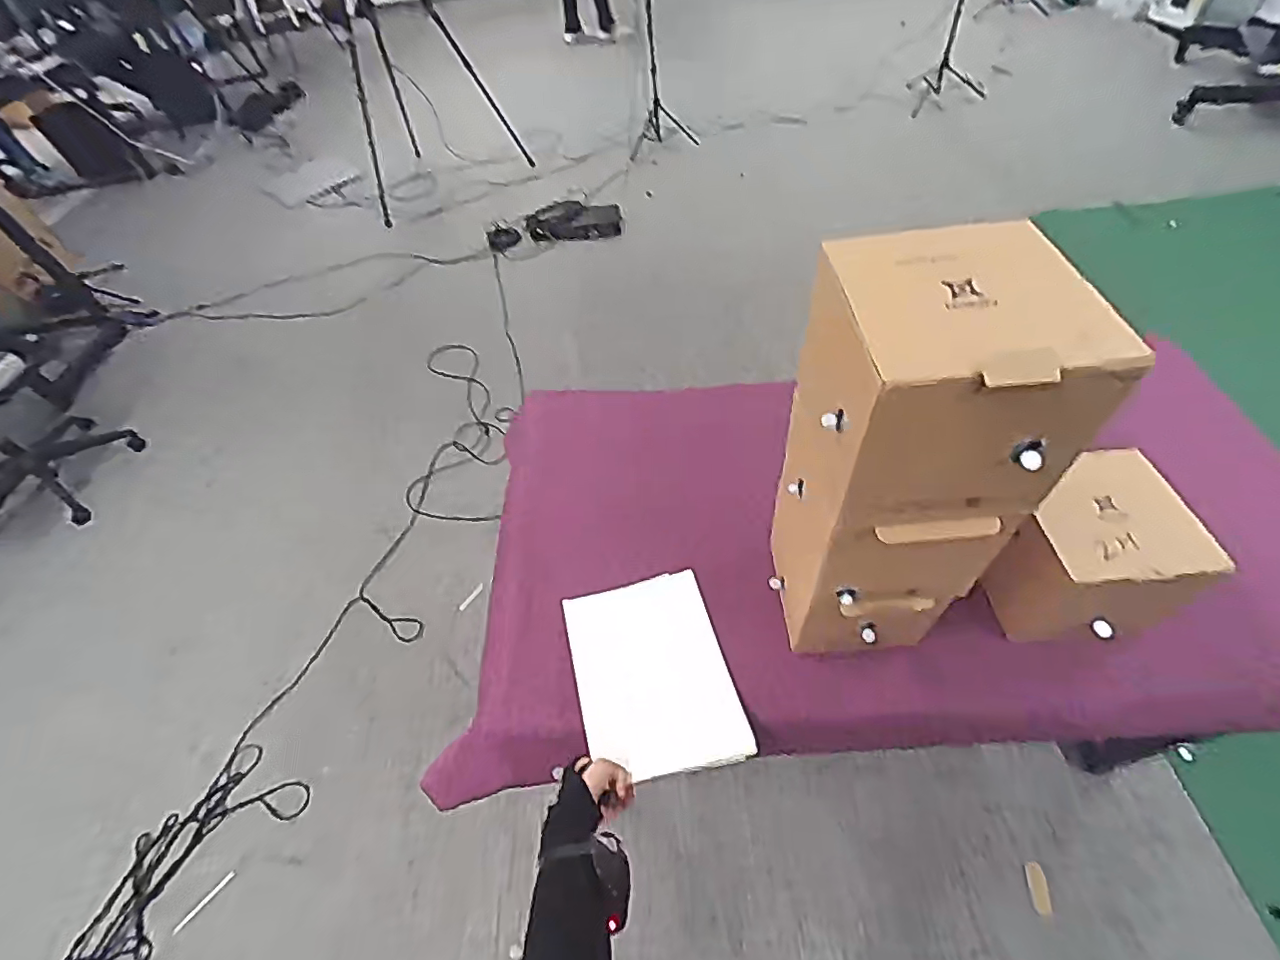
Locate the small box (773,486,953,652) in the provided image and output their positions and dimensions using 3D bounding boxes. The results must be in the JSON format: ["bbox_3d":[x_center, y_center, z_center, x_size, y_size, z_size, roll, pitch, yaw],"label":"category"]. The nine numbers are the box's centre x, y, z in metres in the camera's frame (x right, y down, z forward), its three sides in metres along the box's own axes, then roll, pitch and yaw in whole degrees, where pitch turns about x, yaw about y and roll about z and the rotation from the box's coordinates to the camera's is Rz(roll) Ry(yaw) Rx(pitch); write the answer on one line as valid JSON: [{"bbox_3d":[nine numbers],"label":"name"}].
[{"bbox_3d":[0.276,0.118,0.715,0.168,0.176,0.179,-5,52,4],"label":"small box"}]

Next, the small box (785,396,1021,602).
[{"bbox_3d":[0.257,0.021,0.582,0.168,0.176,0.179,-5,50,5],"label":"small box"}]

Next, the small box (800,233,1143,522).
[{"bbox_3d":[0.239,-0.075,0.452,0.168,0.176,0.179,-4,51,4],"label":"small box"}]
